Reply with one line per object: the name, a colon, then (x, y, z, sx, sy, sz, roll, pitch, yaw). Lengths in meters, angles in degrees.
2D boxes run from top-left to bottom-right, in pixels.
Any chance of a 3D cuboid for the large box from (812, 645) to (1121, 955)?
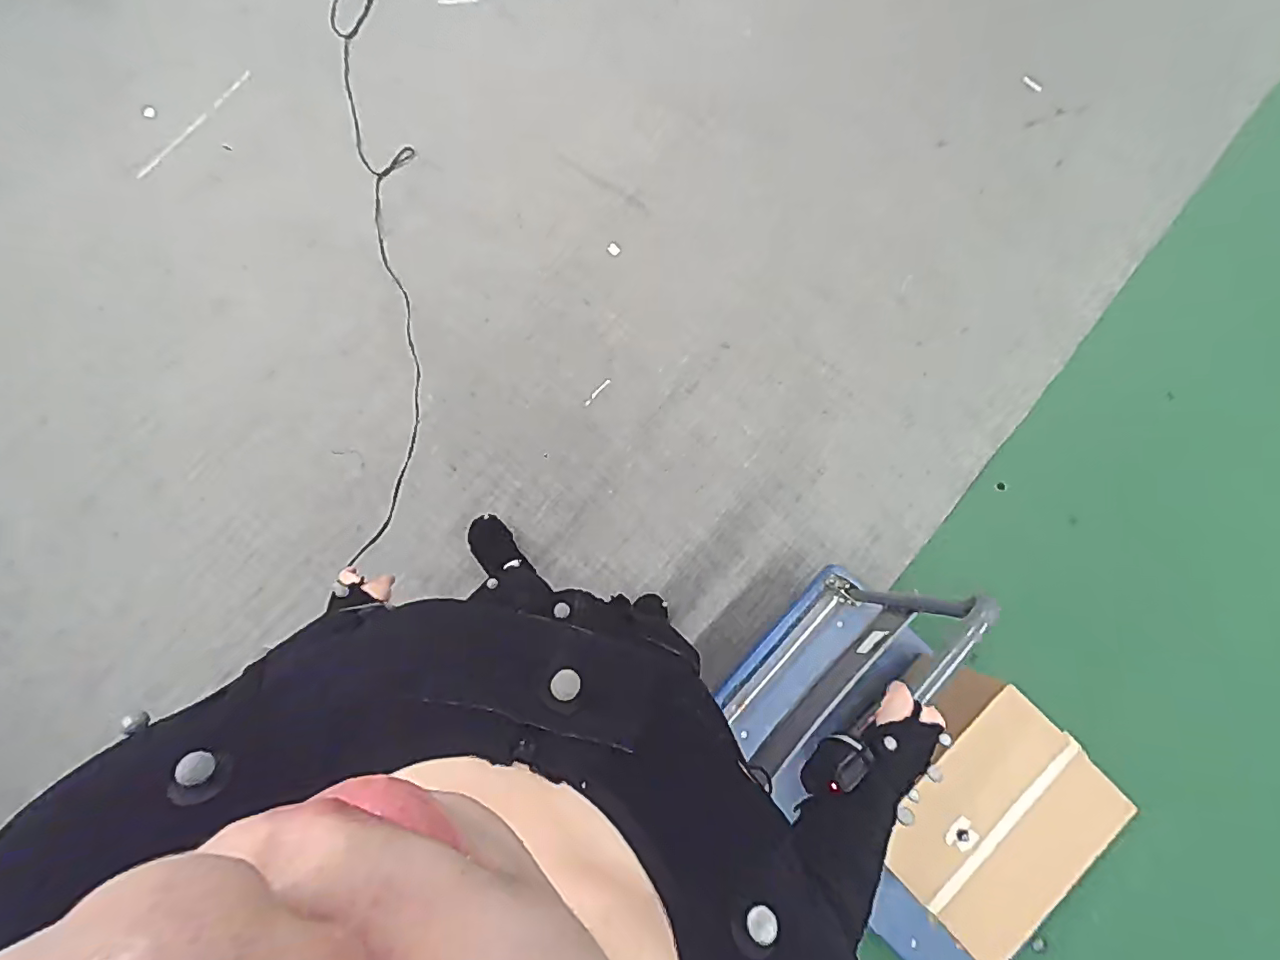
large box: (0.649, 0.623, 1.141, 0.408, 0.320, 0.320, -44, 84, -5)
